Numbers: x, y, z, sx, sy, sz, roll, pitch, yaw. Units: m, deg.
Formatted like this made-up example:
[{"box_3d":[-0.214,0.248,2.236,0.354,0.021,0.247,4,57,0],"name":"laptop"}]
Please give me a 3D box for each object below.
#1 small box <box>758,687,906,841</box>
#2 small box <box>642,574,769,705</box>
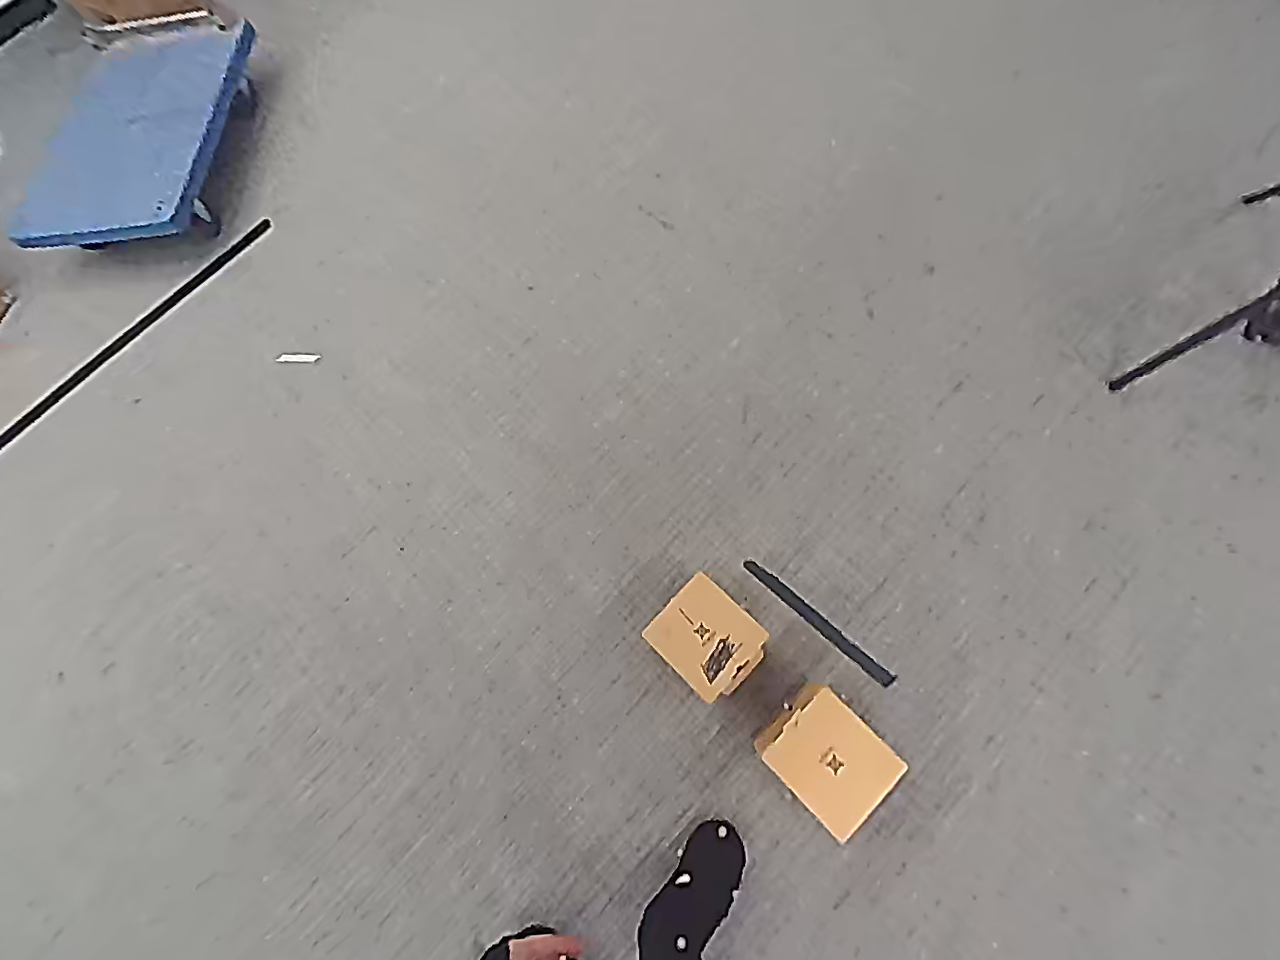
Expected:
[{"box_3d":[0.333,0.492,0.973,0.168,0.176,0.179,-45,70,-7],"name":"small box"},{"box_3d":[0.132,0.312,1.064,0.179,0.176,0.168,42,82,20],"name":"small box"}]
